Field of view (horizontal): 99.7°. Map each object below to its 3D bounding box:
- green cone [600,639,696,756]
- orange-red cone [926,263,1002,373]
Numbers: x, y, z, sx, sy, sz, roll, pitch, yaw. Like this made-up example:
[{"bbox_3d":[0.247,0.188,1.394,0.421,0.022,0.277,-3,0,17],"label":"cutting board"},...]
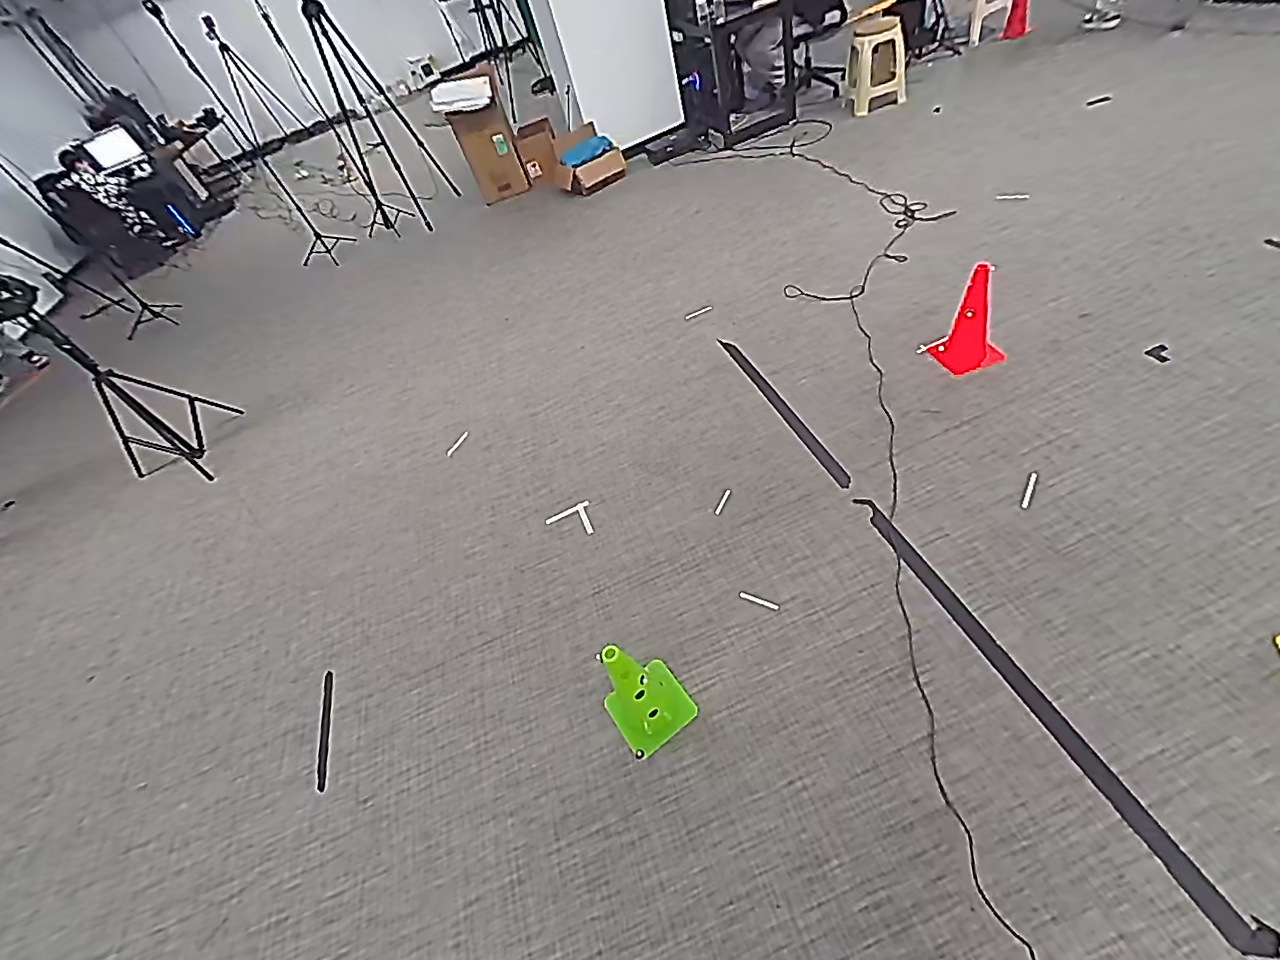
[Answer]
[{"bbox_3d":[-0.019,0.496,1.341,0.200,0.368,0.202,-35,46,-13],"label":"green cone"},{"bbox_3d":[1.157,-0.586,1.889,0.198,0.360,0.199,-19,47,4],"label":"orange-red cone"}]
